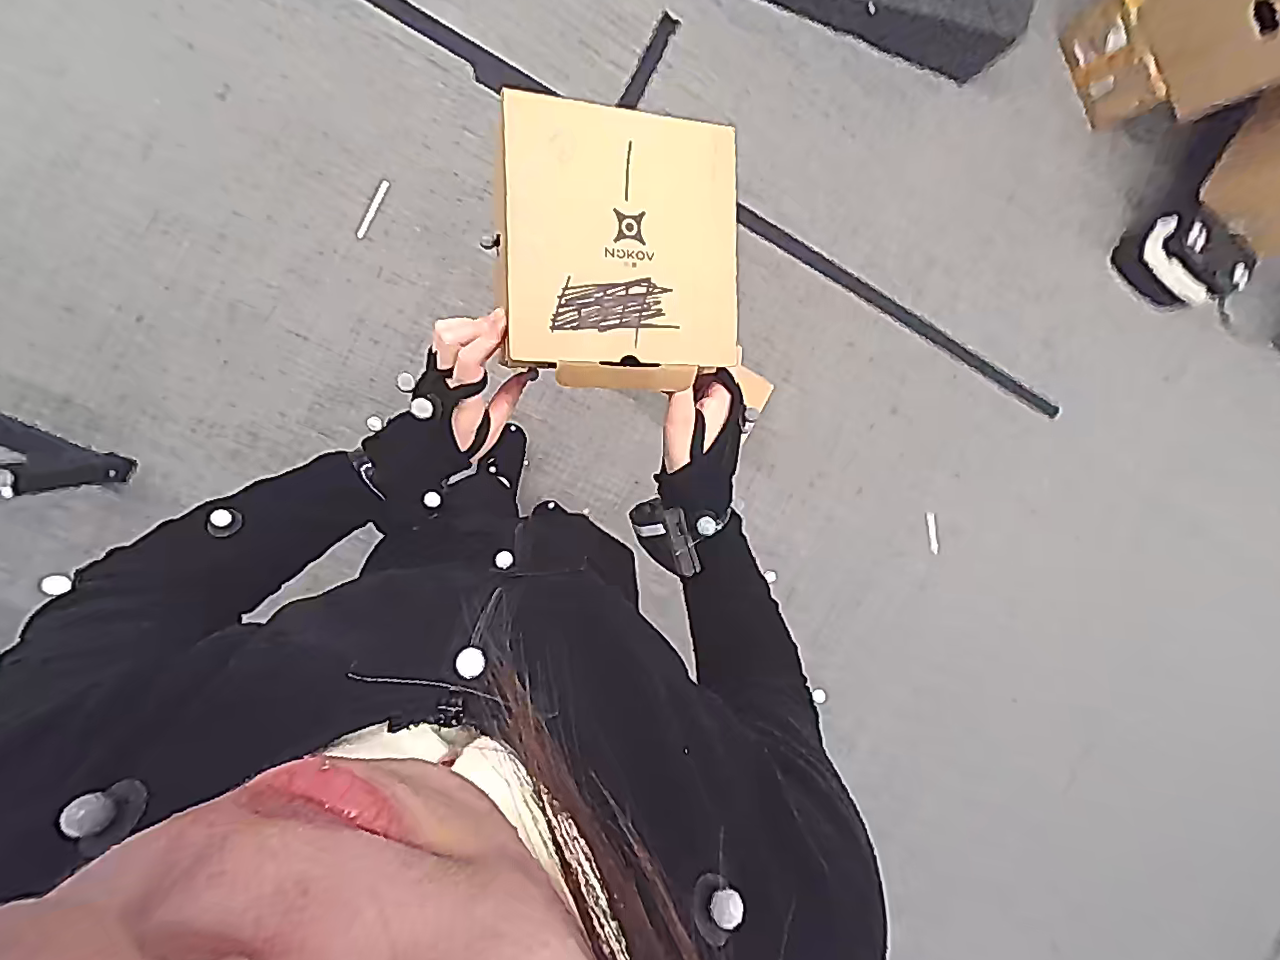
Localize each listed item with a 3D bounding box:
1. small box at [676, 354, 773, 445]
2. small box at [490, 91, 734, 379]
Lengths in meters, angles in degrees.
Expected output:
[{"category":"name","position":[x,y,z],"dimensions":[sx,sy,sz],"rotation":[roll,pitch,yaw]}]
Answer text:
[{"category":"small box","position":[0.216,-0.210,1.435],"dimensions":[0.168,0.176,0.179],"rotation":[29,91,-12]},{"category":"small box","position":[-0.037,-0.178,0.453],"dimensions":[0.168,0.176,0.179],"rotation":[-2,102,-17]}]
